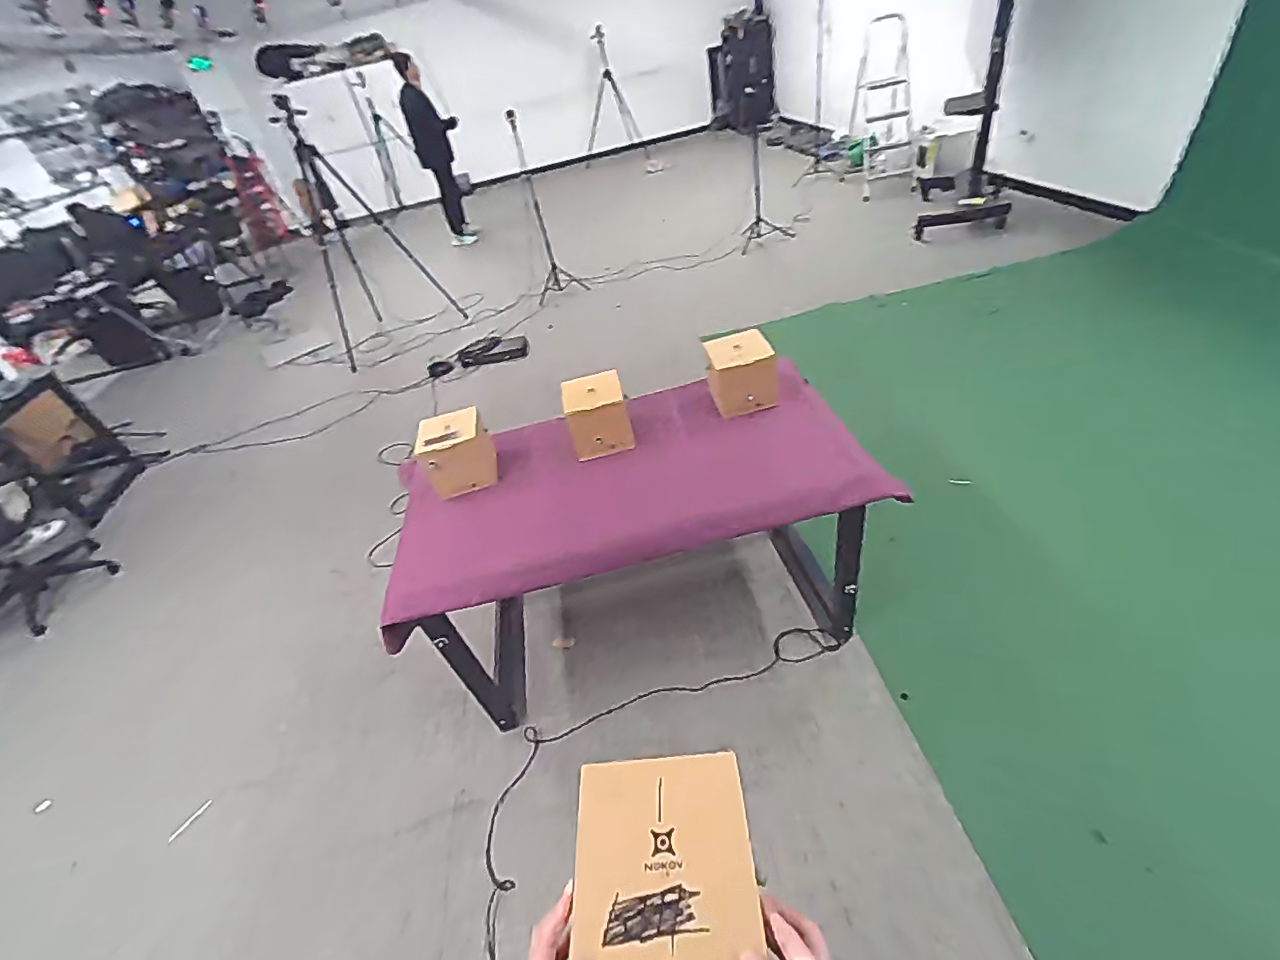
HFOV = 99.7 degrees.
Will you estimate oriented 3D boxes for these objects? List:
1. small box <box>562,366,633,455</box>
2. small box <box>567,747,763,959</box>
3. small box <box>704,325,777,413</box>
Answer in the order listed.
[{"bbox_3d":[-0.121,-0.199,1.545,0.168,0.176,0.179,-14,41,-1],"label":"small box"},{"bbox_3d":[0.029,0.403,0.549,0.168,0.176,0.179,-7,38,3],"label":"small box"},{"bbox_3d":[0.290,-0.321,1.563,0.168,0.176,0.179,-15,41,2],"label":"small box"}]
